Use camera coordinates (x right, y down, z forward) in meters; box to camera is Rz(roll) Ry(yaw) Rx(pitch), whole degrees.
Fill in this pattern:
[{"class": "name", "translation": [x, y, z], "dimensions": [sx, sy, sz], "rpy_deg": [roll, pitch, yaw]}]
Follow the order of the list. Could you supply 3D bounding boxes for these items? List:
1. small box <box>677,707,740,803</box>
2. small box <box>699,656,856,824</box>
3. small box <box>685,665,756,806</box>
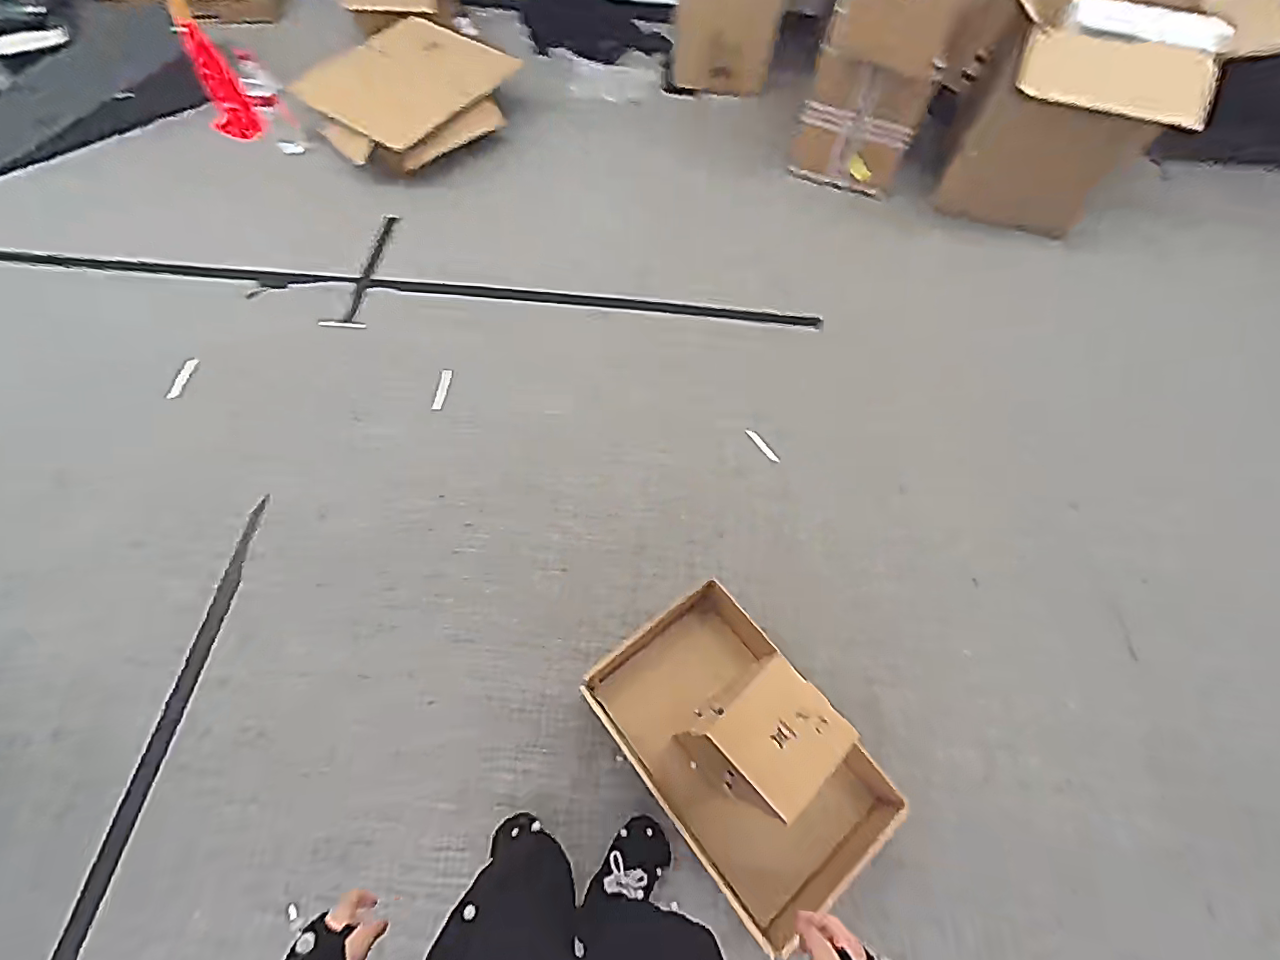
[{"class": "small box", "translation": [0.198, 0.566, 1.186], "dimensions": [0.179, 0.176, 0.168], "rpy_deg": [-35, 70, -17]}, {"class": "small box", "translation": [0.212, 0.422, 0.893], "dimensions": [0.179, 0.176, 0.168], "rpy_deg": [-40, 74, -19]}, {"class": "small box", "translation": [0.203, 0.489, 1.044], "dimensions": [0.179, 0.176, 0.168], "rpy_deg": [-39, 73, -21]}]
